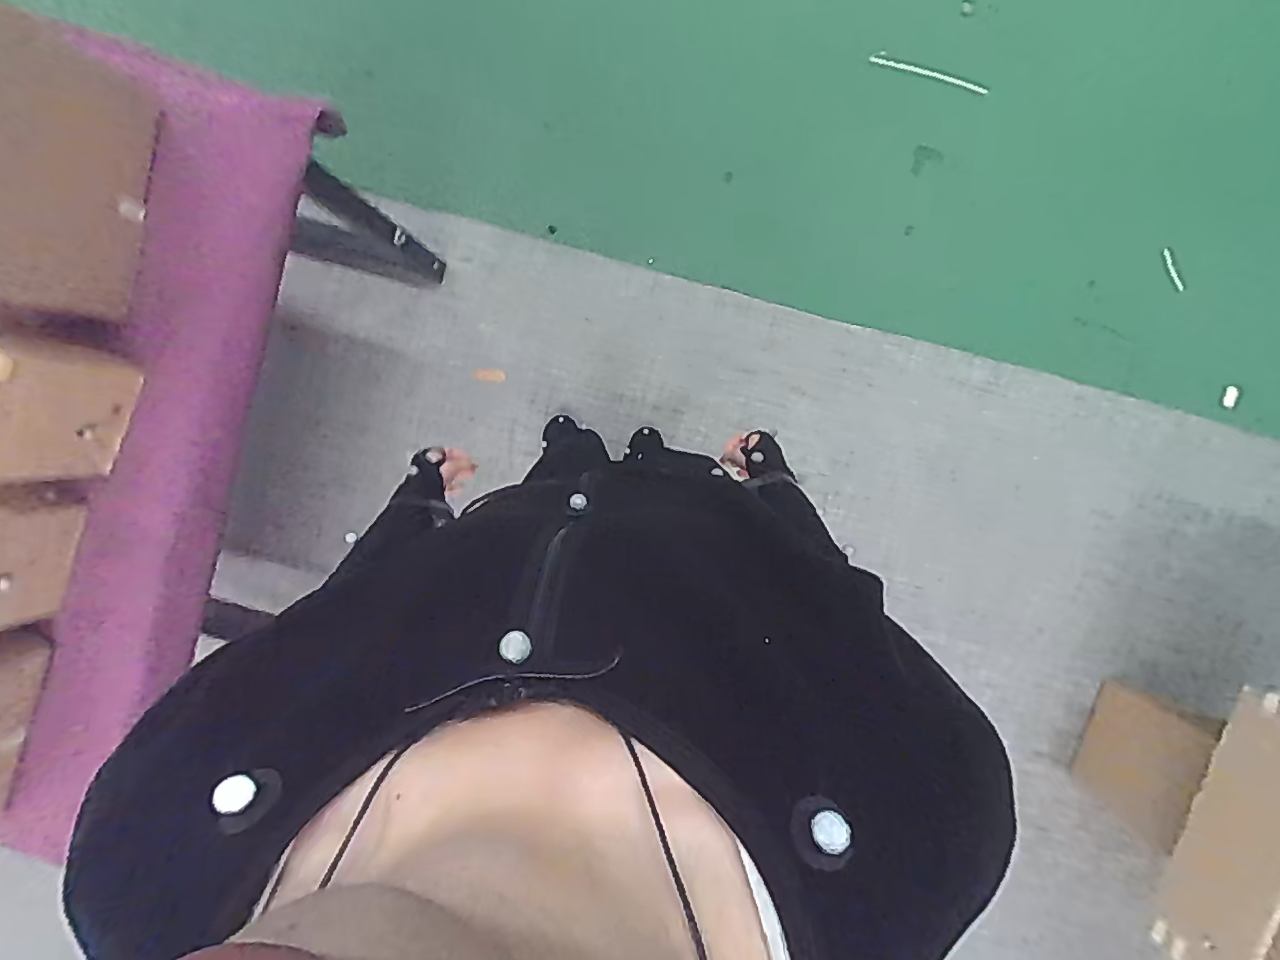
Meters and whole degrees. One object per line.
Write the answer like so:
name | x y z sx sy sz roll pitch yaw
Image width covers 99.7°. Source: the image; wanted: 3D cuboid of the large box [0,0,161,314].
large box | -0.889 -0.413 0.610 0.408 0.320 0.320 15 97 -1
